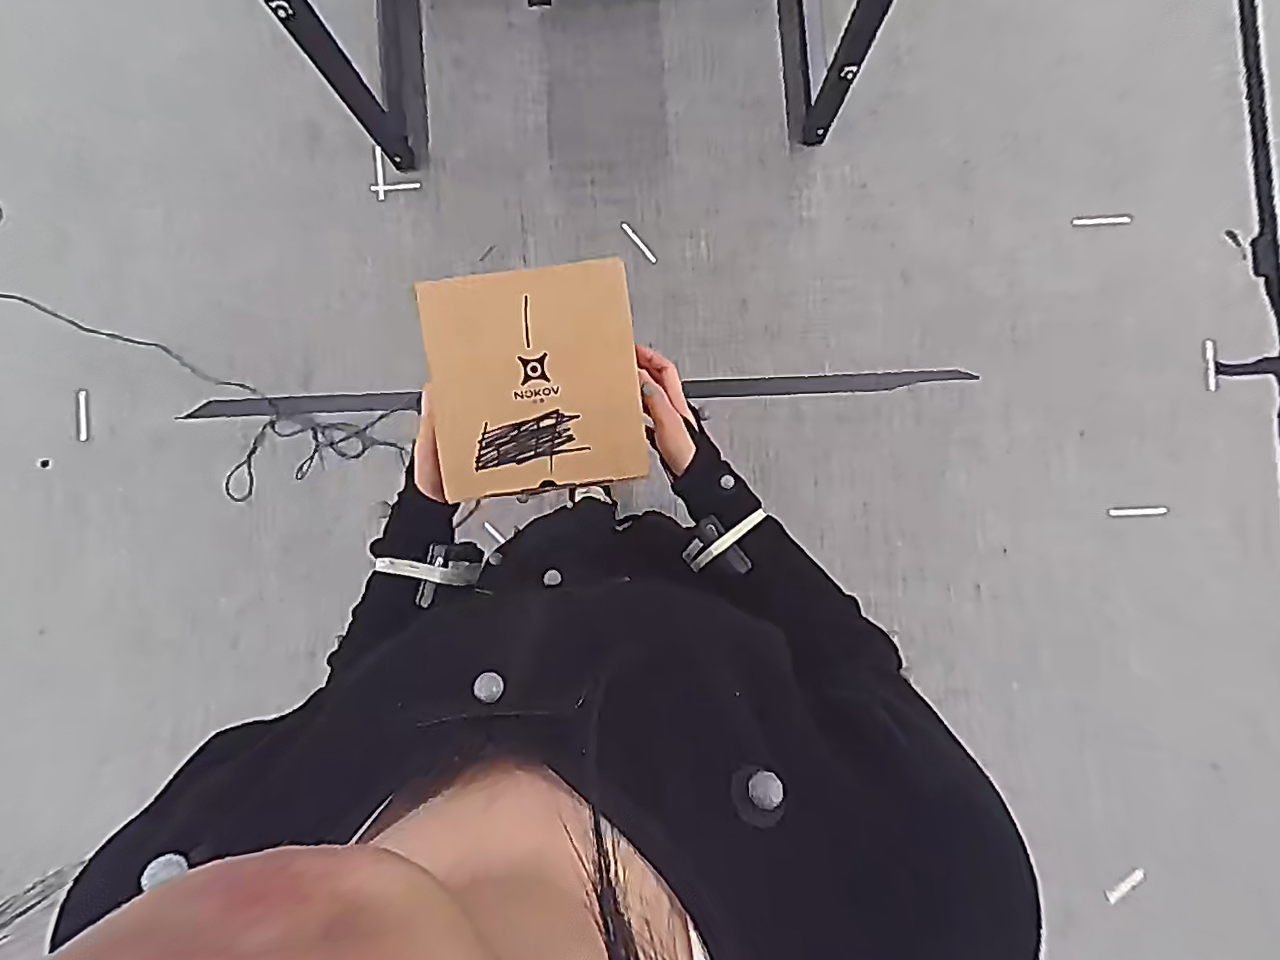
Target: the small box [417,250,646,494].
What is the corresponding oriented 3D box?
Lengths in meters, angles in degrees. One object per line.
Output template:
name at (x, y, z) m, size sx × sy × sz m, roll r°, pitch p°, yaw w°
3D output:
small box at (-0.083, -0.087, 0.499) m, size 0.168 × 0.176 × 0.179 m, roll -7°, pitch 91°, yaw -1°
